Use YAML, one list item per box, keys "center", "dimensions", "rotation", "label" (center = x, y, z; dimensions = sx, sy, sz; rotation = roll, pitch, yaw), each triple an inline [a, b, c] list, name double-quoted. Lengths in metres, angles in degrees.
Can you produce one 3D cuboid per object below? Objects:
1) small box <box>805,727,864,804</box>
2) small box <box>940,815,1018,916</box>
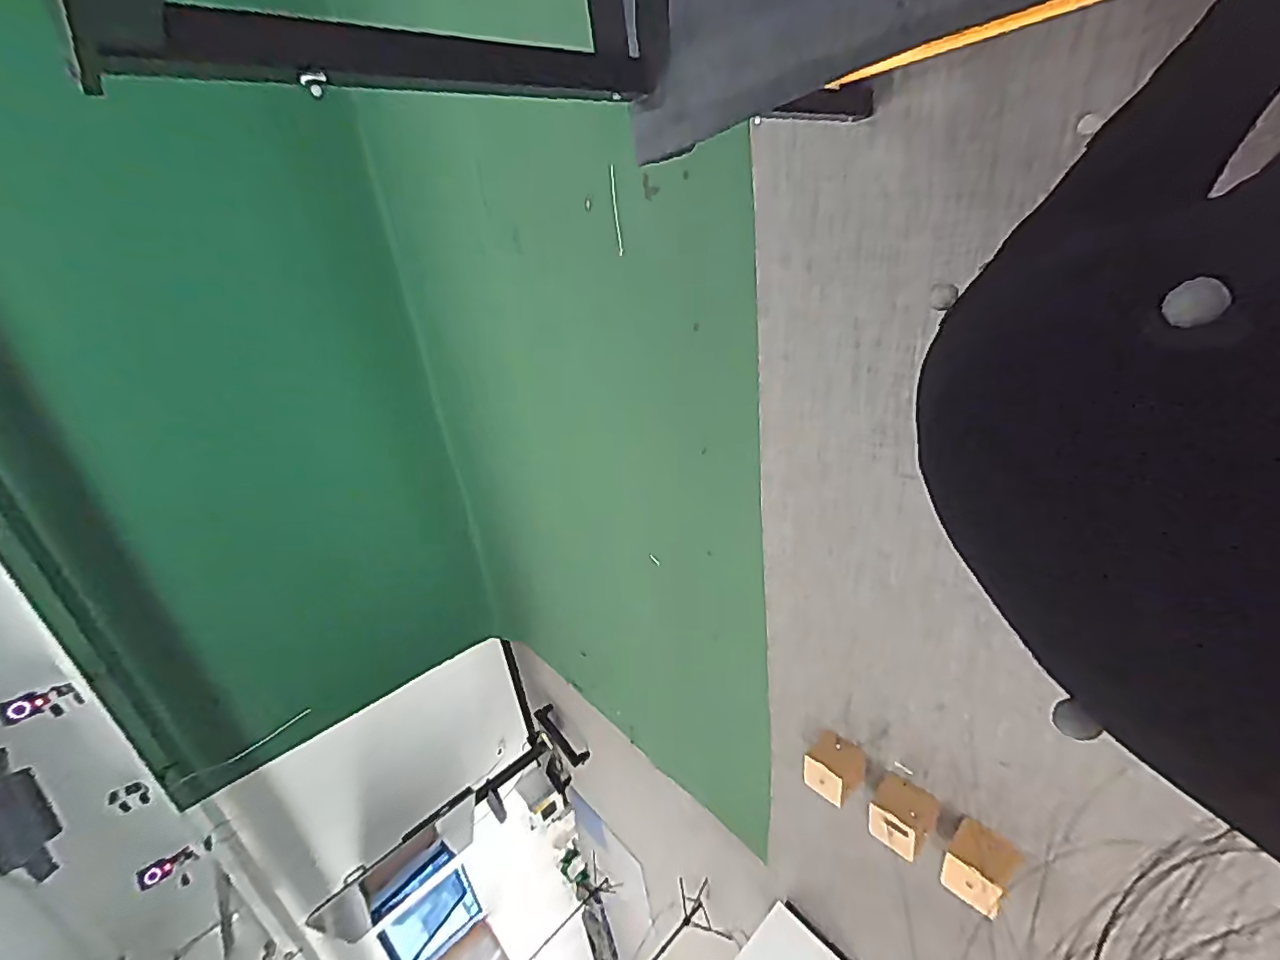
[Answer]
- center: [0.786, 1.149, 2.186]
  dimensions: [0.168, 0.176, 0.179]
  rotation: [21, 126, 45]
  label: "small box"
- center: [1.132, 1.280, 1.807]
  dimensions: [0.168, 0.176, 0.179]
  rotation: [21, 126, 45]
  label: "small box"
